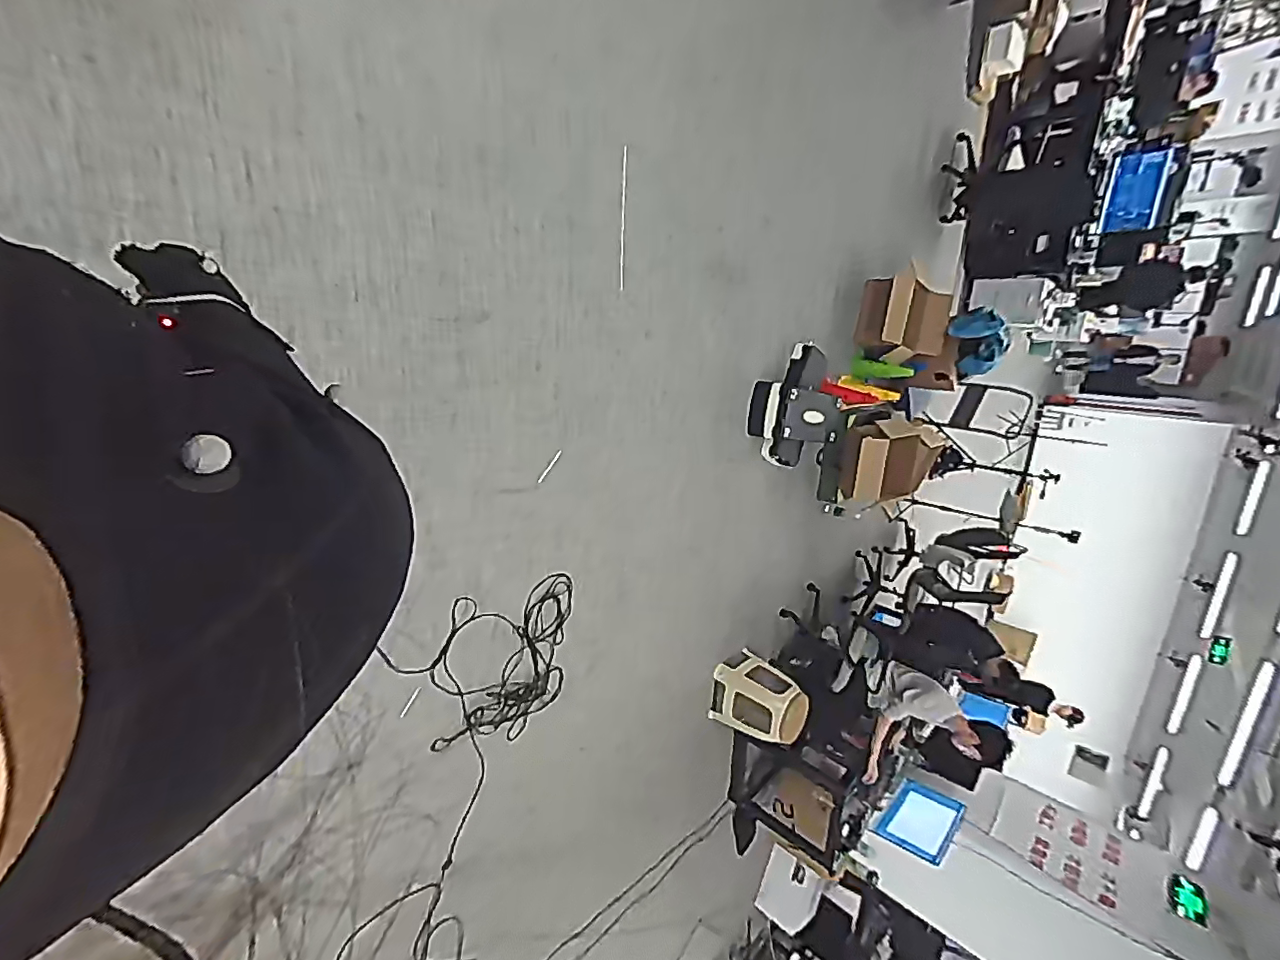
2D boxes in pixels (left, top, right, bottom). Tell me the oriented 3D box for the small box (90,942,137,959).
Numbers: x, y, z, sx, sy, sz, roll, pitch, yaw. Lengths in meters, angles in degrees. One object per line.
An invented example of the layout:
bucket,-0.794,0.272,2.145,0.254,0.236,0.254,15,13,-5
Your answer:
small box,-1.237,1.219,1.219,0.168,0.176,0.179,-10,109,-46
